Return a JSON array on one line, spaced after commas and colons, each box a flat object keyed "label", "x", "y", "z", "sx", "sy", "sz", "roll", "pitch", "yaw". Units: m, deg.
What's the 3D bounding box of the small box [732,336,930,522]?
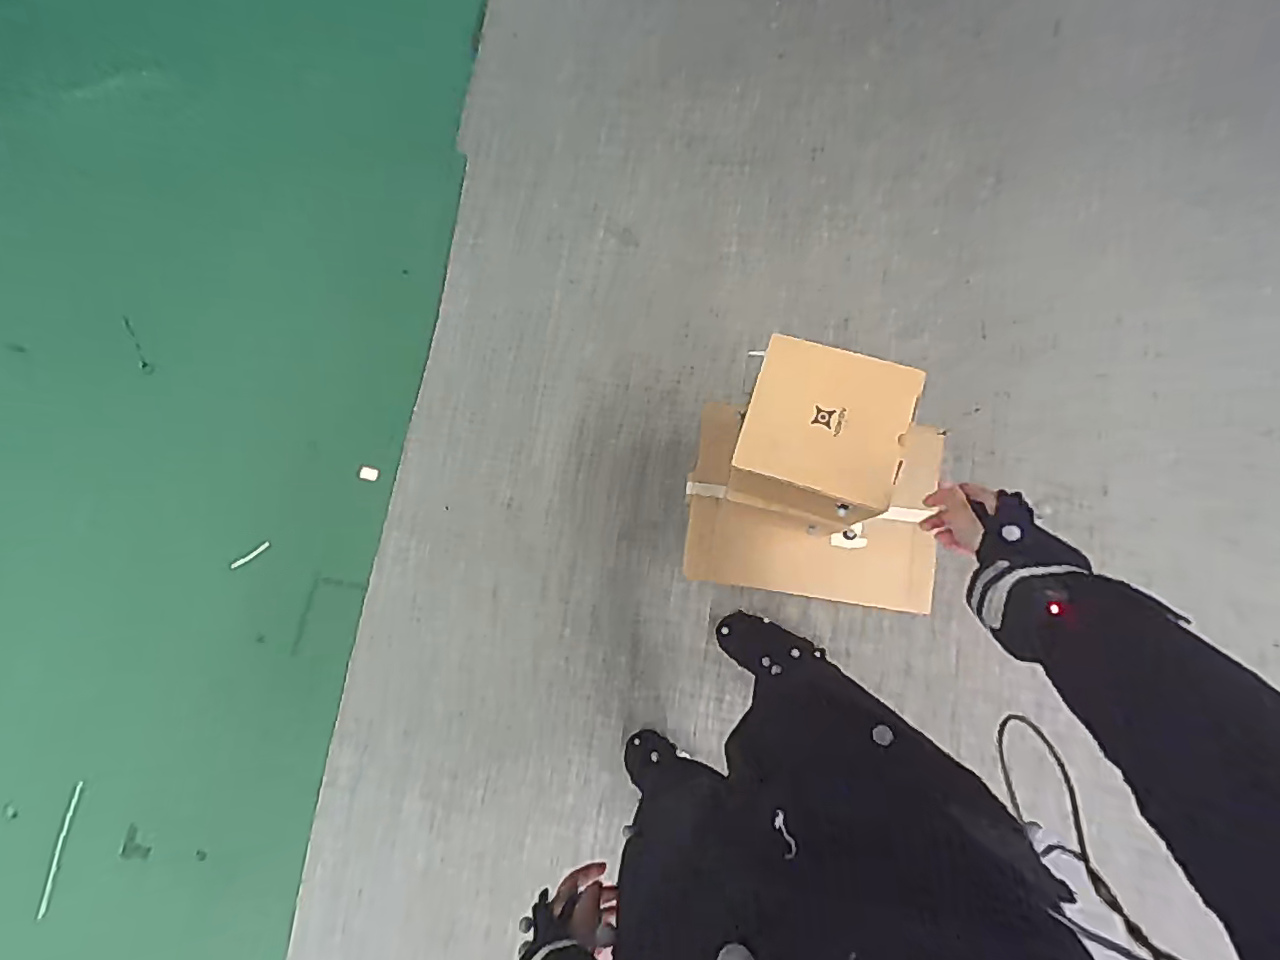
[{"label": "small box", "x": 0.221, "y": -0.052, "z": 0.673, "sx": 0.179, "sy": 0.176, "sz": 0.168, "roll": 18, "pitch": 83, "yaw": 10}]

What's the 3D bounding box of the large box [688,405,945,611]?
[{"label": "large box", "x": 0.313, "y": 0.062, "z": 1.057, "sx": 0.408, "sy": 0.320, "sz": 0.320, "roll": 7, "pitch": 83, "yaw": 8}]
